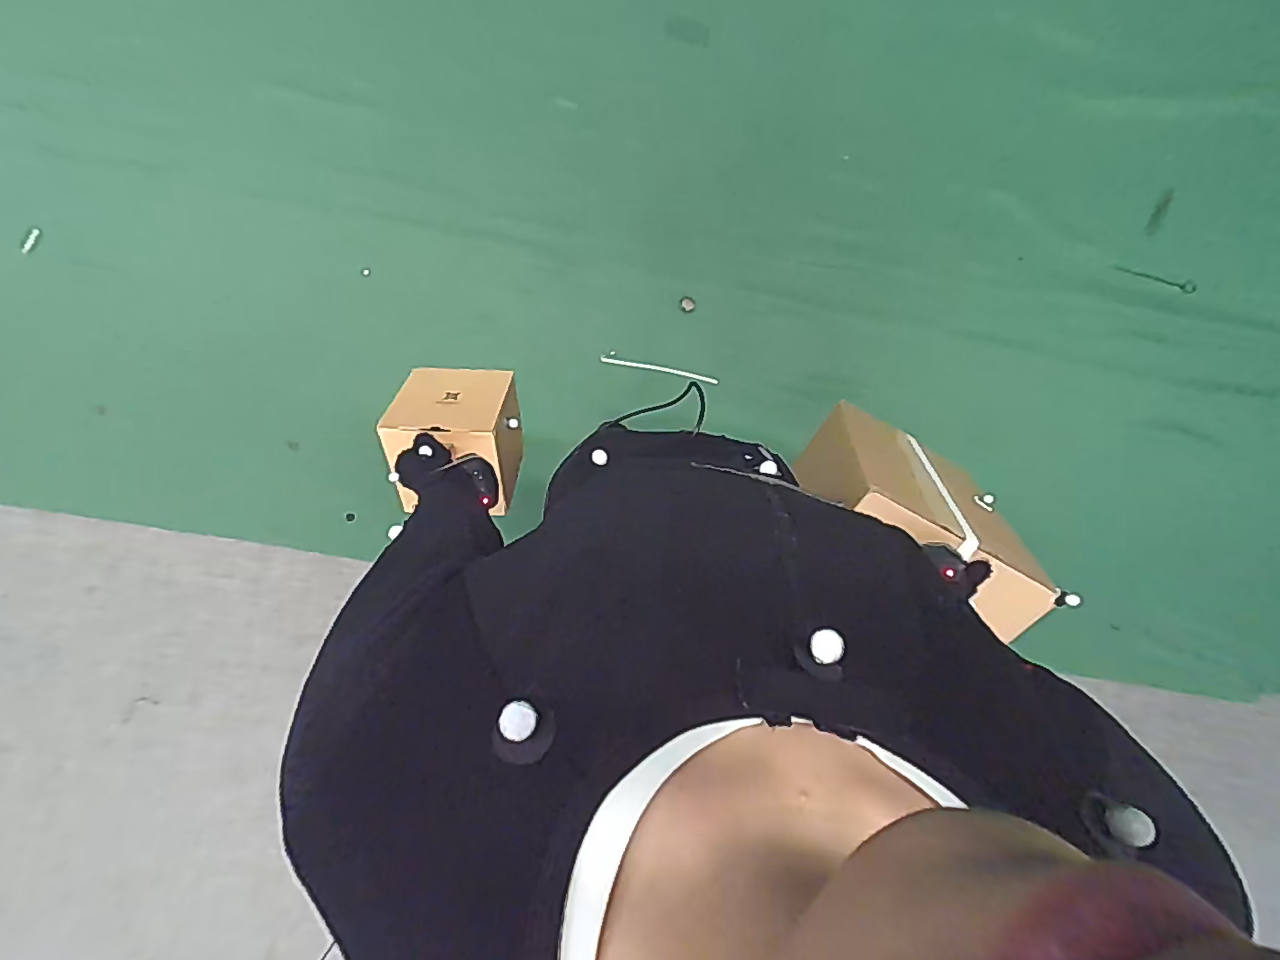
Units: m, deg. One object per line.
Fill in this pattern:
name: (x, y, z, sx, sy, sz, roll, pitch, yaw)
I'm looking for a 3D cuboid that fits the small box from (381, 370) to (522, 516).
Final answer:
small box: (-0.293, -0.063, 0.888, 0.168, 0.179, 0.176, 2, 131, -1)
